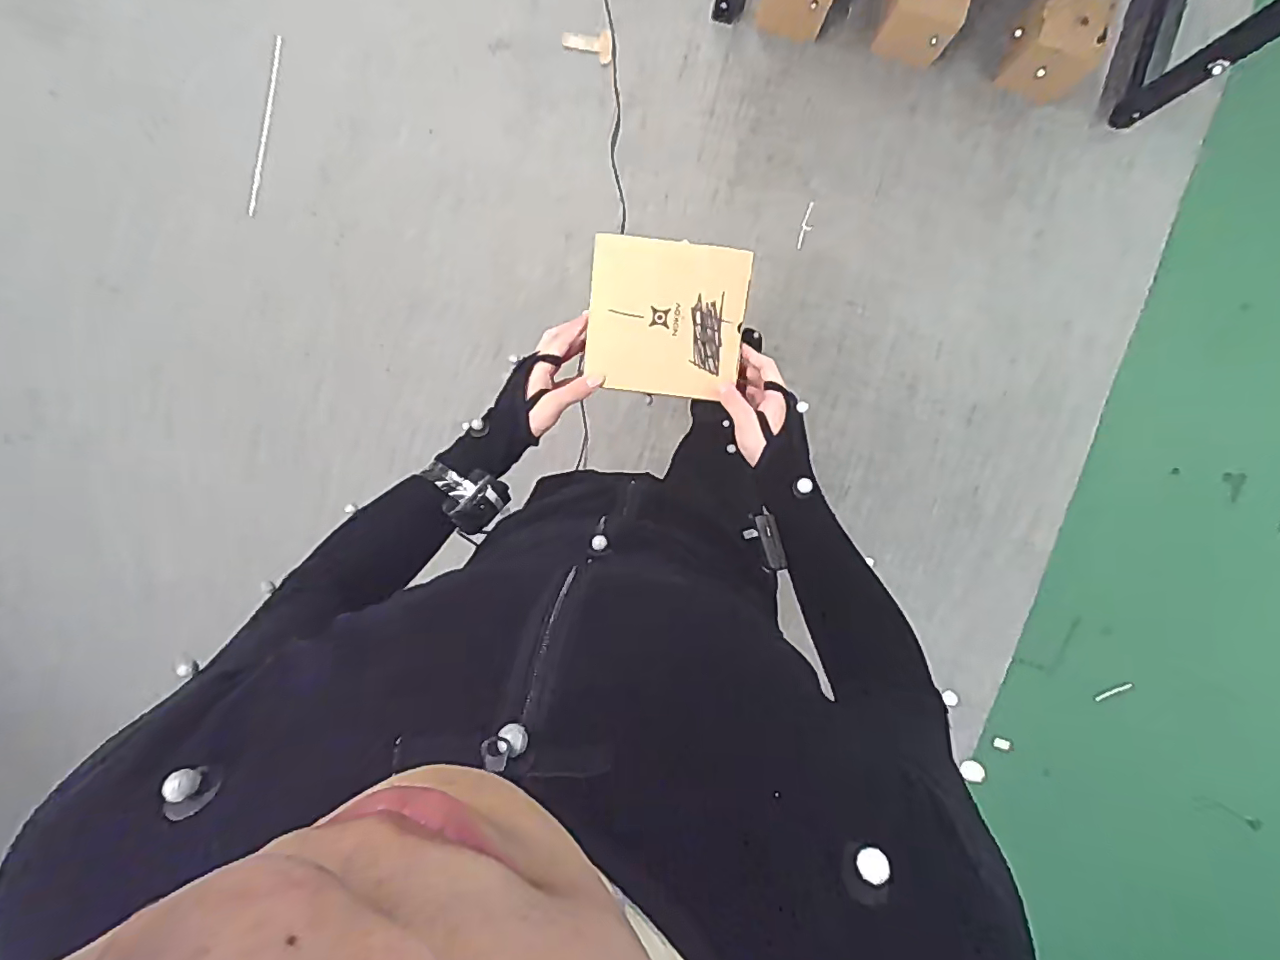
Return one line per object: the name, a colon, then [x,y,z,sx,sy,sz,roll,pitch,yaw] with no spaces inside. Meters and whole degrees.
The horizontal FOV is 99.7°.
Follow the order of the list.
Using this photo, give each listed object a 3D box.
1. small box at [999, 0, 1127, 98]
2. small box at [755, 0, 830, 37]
small box: [1.064,-1.119,1.374,0.179,0.176,0.168,17,97,-1]
small box: [0.405,-1.274,1.366,0.179,0.176,0.168,14,96,-1]
